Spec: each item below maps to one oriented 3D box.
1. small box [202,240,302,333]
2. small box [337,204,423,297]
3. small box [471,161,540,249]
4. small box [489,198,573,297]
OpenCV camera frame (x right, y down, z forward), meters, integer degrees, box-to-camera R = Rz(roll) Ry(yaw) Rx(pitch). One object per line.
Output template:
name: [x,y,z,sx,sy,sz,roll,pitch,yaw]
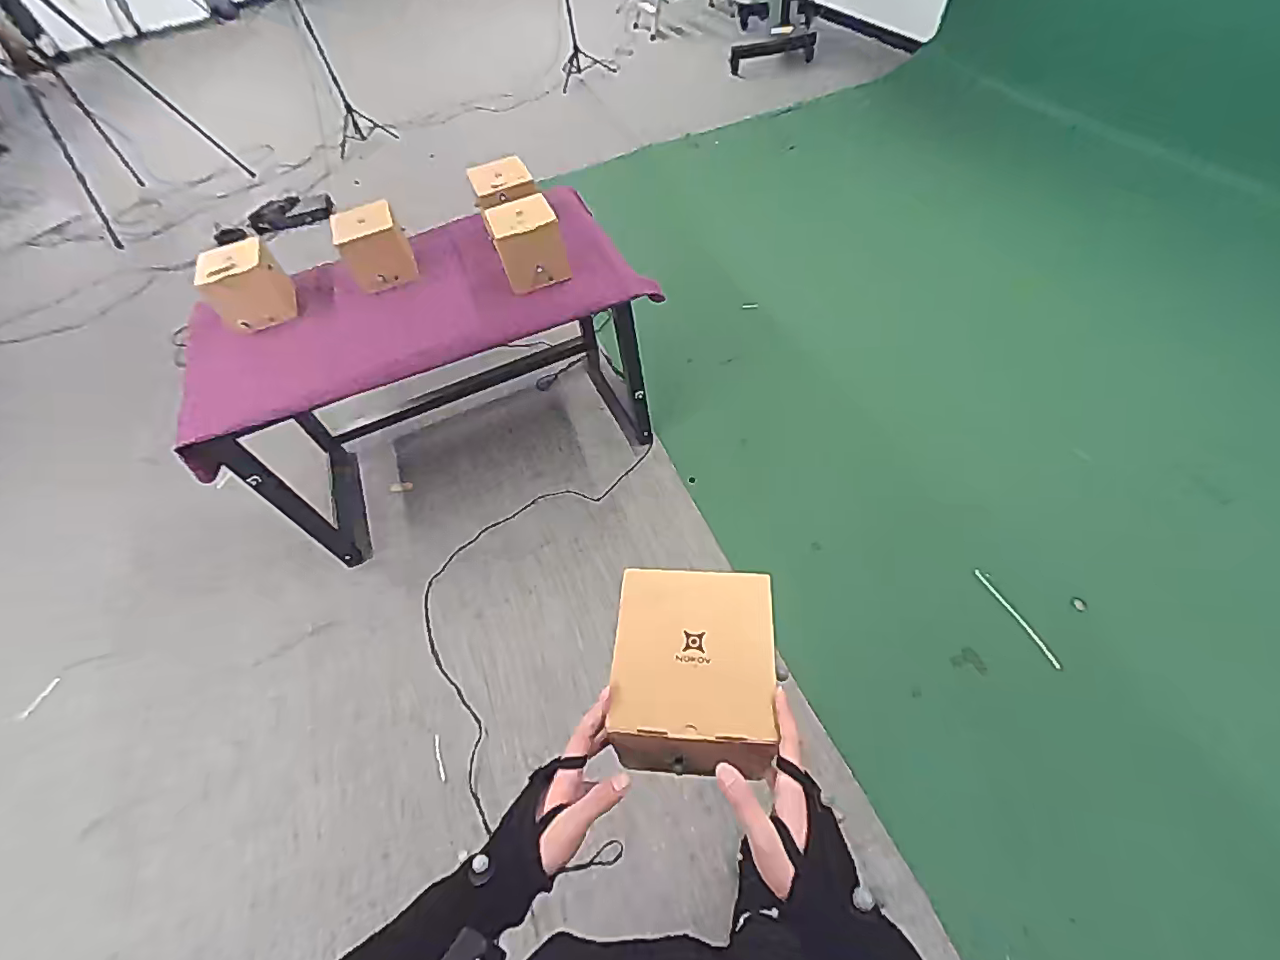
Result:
small box: [-1.086,-0.537,1.527,0.168,0.176,0.179,-22,54,-9]
small box: [-0.755,-0.666,1.575,0.168,0.176,0.179,-22,55,-7]
small box: [-0.390,-0.825,1.634,0.168,0.176,0.179,-23,55,-7]
small box: [-0.296,-0.635,1.480,0.168,0.176,0.179,-21,53,-6]
